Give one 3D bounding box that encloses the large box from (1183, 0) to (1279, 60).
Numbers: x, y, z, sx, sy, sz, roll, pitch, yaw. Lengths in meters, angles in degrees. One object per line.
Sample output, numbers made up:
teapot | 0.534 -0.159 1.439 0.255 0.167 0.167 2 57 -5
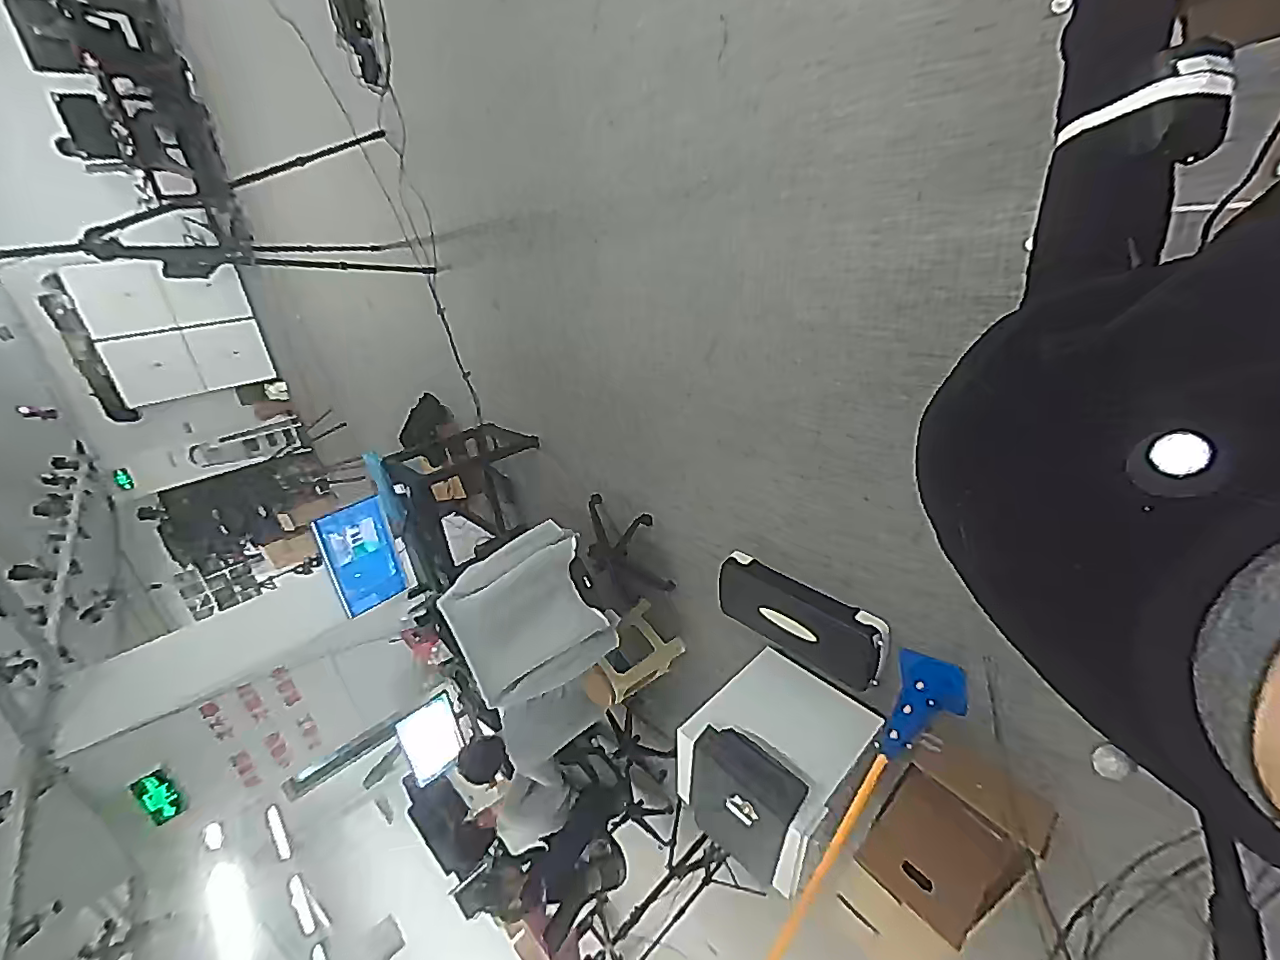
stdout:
large box | 0.563 -0.476 0.252 0.408 0.320 0.320 10 116 44
